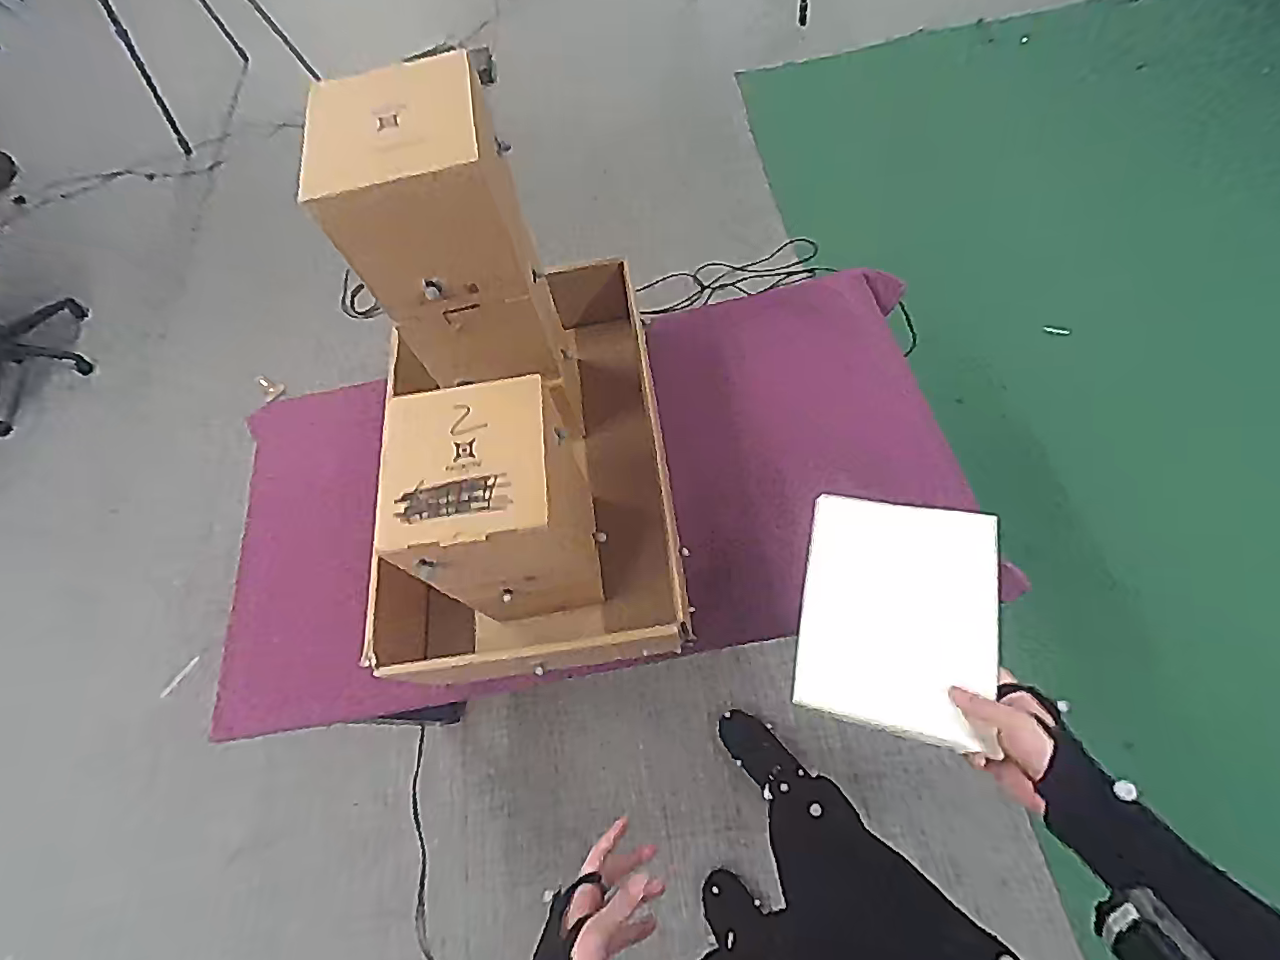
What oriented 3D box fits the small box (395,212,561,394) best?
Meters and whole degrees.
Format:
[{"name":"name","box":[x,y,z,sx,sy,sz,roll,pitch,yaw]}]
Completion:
[{"name":"small box","box":[-0.211,-0.234,0.734,0.168,0.176,0.179,-12,64,1]}]

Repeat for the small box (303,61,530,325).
[{"name":"small box","box":[-0.226,-0.300,0.586,0.168,0.176,0.179,-12,66,1]}]

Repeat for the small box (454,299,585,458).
[{"name":"small box","box":[-0.192,-0.159,0.879,0.168,0.176,0.179,-11,66,1]}]
